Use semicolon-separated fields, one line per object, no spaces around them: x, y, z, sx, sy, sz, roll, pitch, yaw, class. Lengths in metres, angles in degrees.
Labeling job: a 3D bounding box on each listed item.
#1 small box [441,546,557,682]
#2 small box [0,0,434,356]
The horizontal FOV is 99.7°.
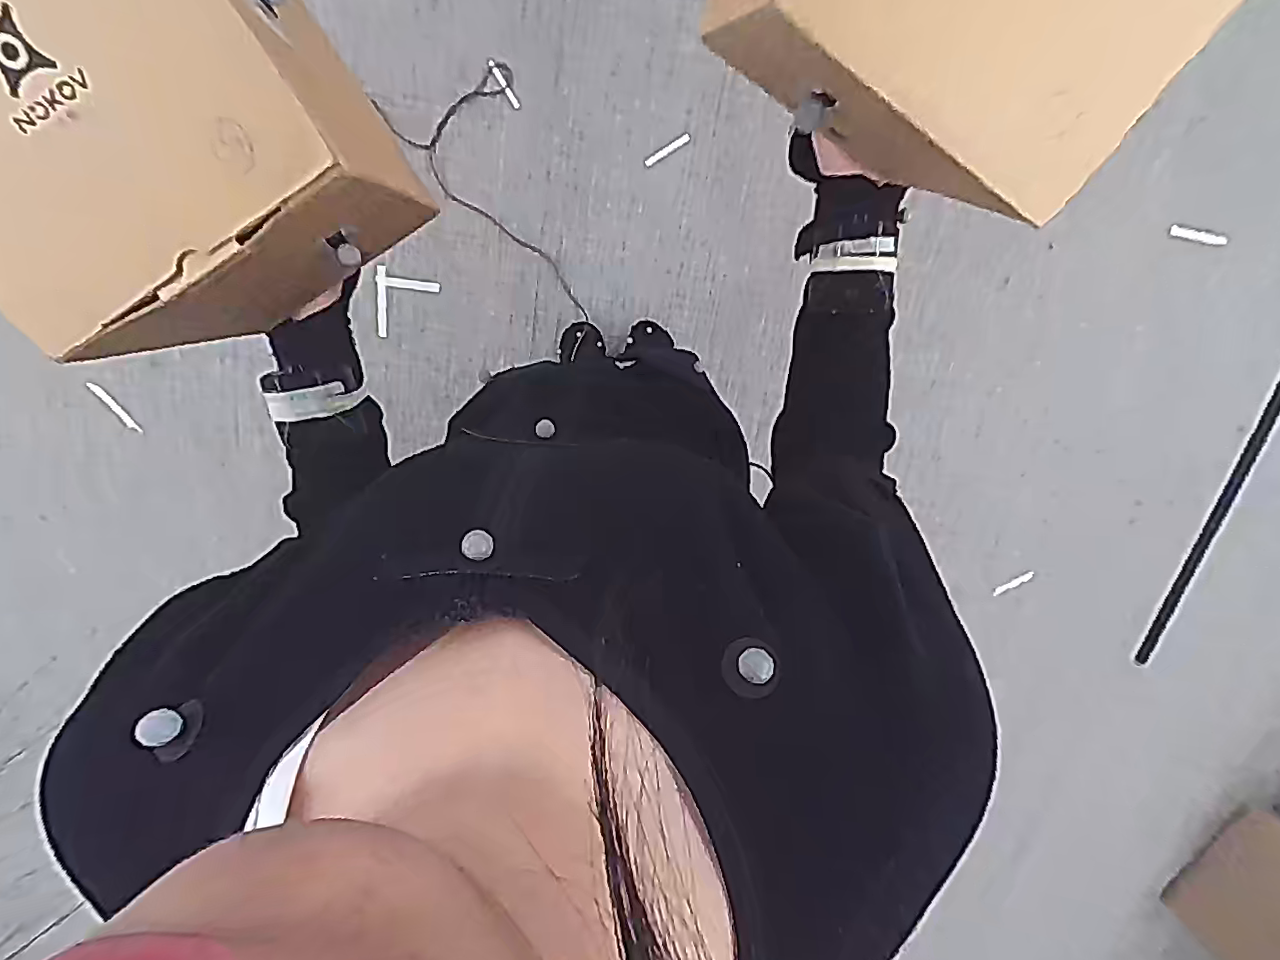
-0.258;0.246;1.026;0.168;0.176;0.179;13;106;-5;small box
-0.241;-0.191;0.286;0.168;0.176;0.179;-31;109;5;small box
